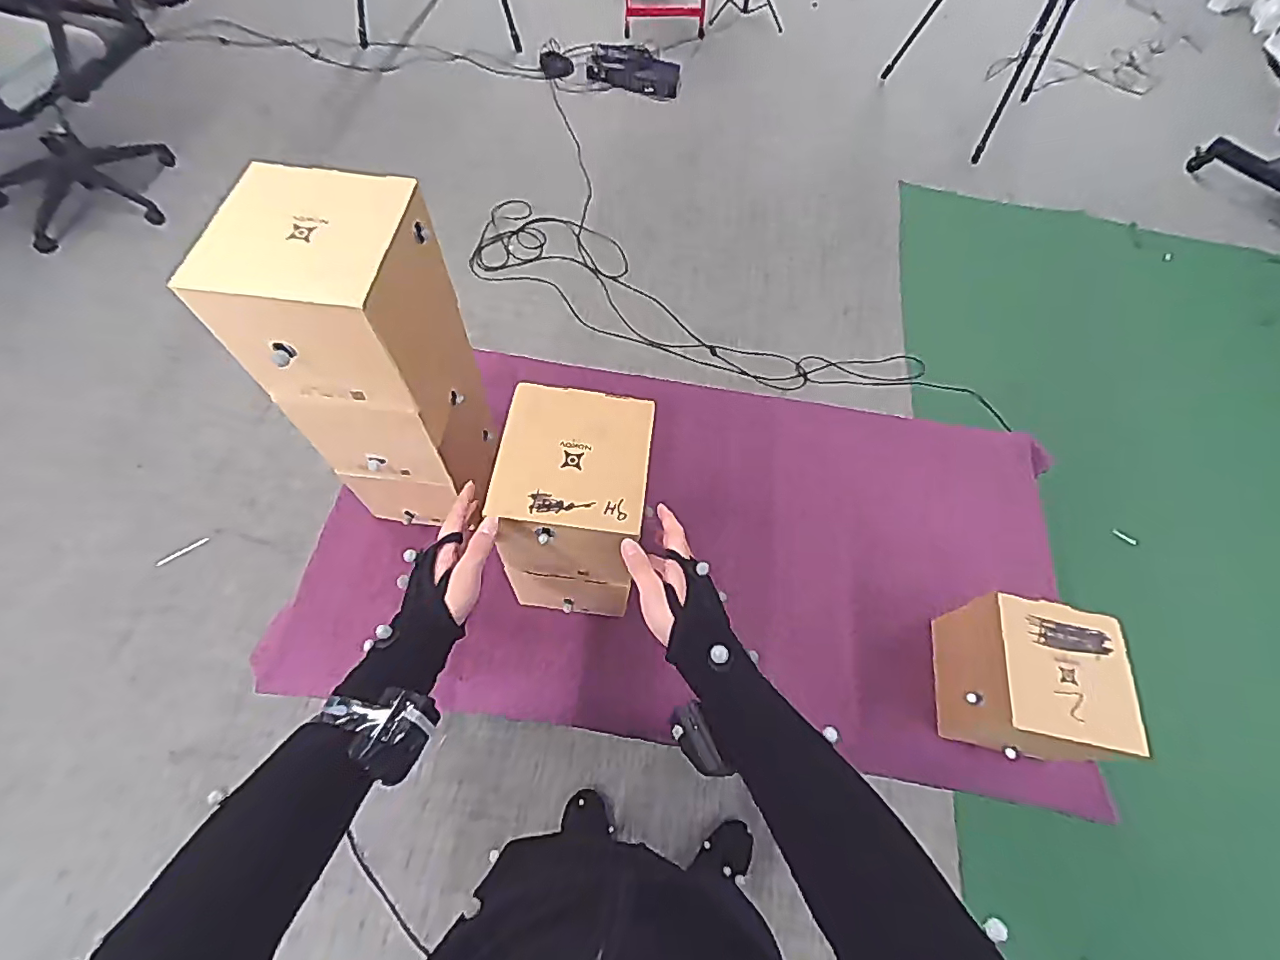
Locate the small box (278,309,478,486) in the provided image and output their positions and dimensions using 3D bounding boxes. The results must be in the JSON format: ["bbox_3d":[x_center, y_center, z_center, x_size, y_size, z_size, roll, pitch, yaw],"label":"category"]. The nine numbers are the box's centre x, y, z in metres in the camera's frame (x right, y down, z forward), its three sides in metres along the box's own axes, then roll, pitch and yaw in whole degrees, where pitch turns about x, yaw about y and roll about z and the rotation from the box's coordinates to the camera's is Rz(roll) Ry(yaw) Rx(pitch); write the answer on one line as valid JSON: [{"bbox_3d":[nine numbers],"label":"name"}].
[{"bbox_3d":[-0.323,-0.113,0.713,0.168,0.176,0.179,6,63,-1],"label":"small box"}]

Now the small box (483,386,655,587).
[{"bbox_3d":[-0.079,0.014,0.666,0.168,0.176,0.179,8,61,0],"label":"small box"}]

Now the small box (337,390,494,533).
[{"bbox_3d":[-0.337,-0.035,0.856,0.168,0.176,0.179,7,63,-1],"label":"small box"}]

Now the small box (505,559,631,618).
[{"bbox_3d":[-0.091,0.092,0.810,0.168,0.176,0.179,8,62,0],"label":"small box"}]

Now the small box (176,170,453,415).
[{"bbox_3d":[-0.312,-0.188,0.569,0.168,0.176,0.179,6,62,-1],"label":"small box"}]
